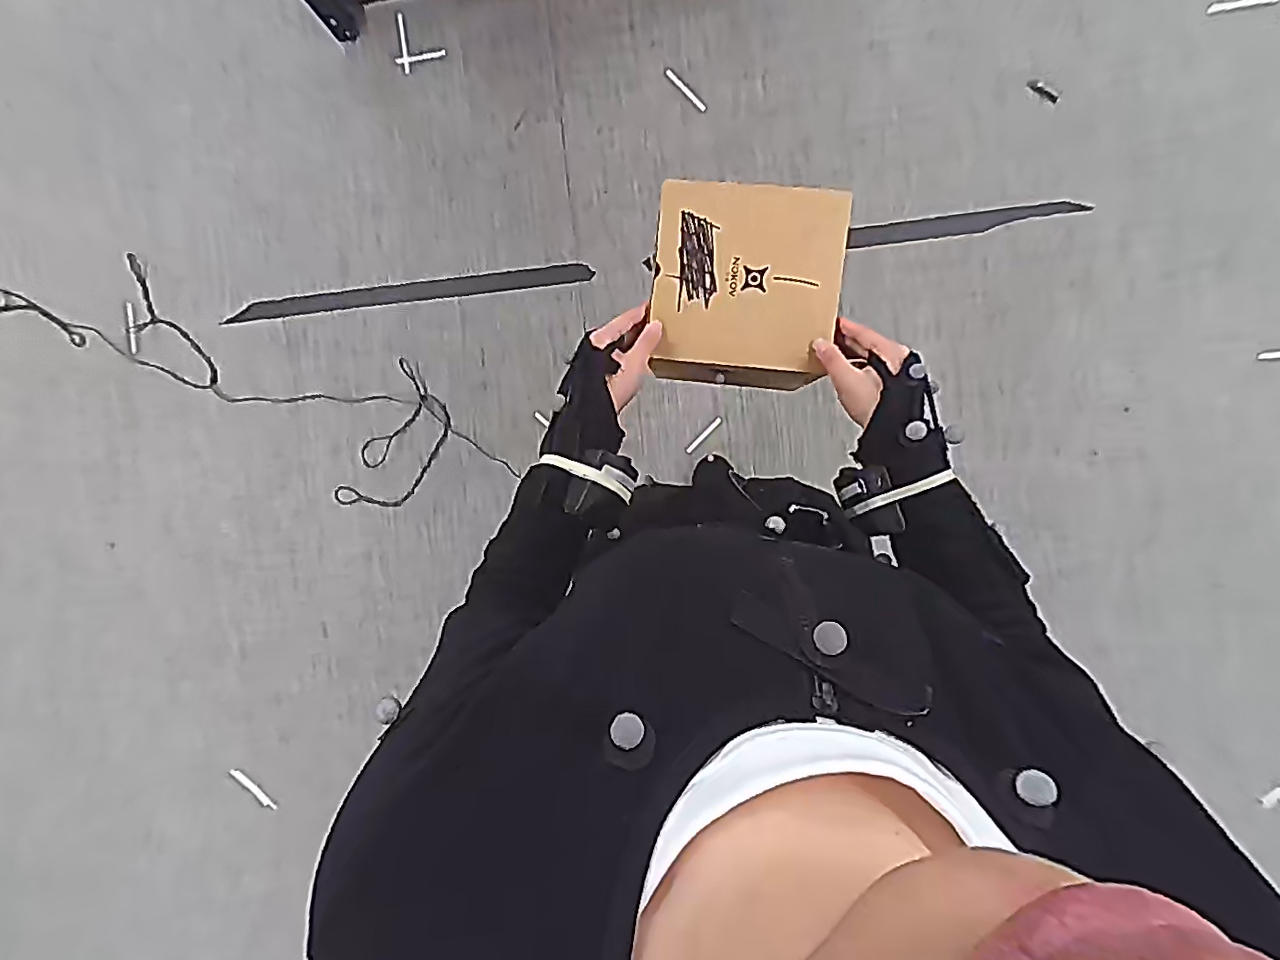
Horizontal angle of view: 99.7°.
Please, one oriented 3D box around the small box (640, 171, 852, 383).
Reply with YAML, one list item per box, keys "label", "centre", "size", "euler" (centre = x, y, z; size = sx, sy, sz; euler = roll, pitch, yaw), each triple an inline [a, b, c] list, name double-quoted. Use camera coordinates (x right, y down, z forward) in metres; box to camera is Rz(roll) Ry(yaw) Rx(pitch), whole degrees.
- label: "small box"
  centre: [0.101, -0.199, 0.577]
  size: [0.179, 0.176, 0.168]
  euler: [7, 96, 2]
